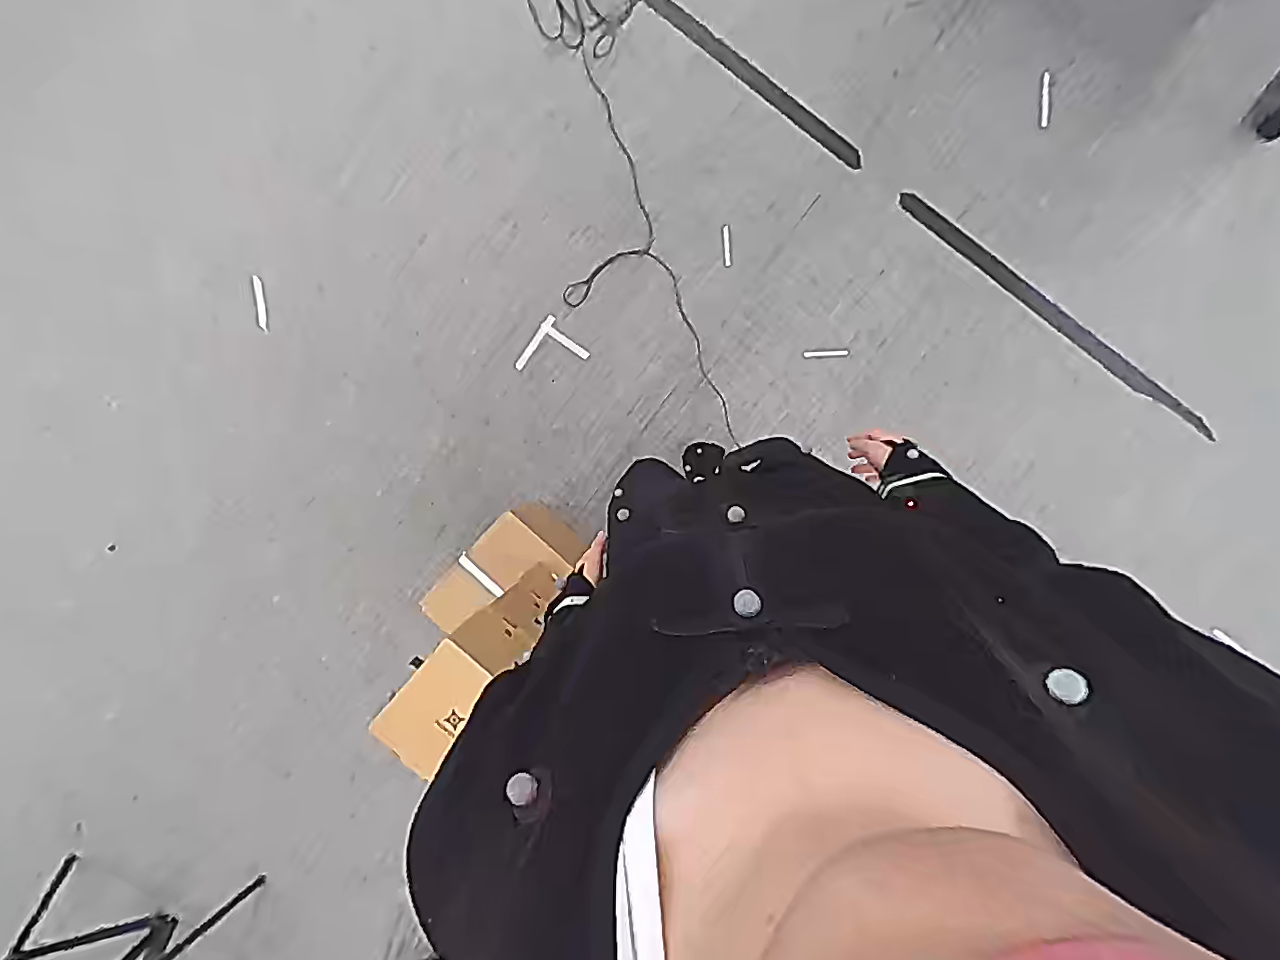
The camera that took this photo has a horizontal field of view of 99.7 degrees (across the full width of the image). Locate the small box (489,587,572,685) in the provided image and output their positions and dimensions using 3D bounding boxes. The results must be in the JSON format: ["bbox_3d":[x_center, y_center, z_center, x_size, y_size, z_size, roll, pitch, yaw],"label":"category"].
[{"bbox_3d":[-0.239,0.318,0.970,0.168,0.176,0.179,43,93,0],"label":"small box"}]

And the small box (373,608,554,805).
[{"bbox_3d":[-0.245,0.321,0.807,0.168,0.176,0.179,40,94,0],"label":"small box"}]
